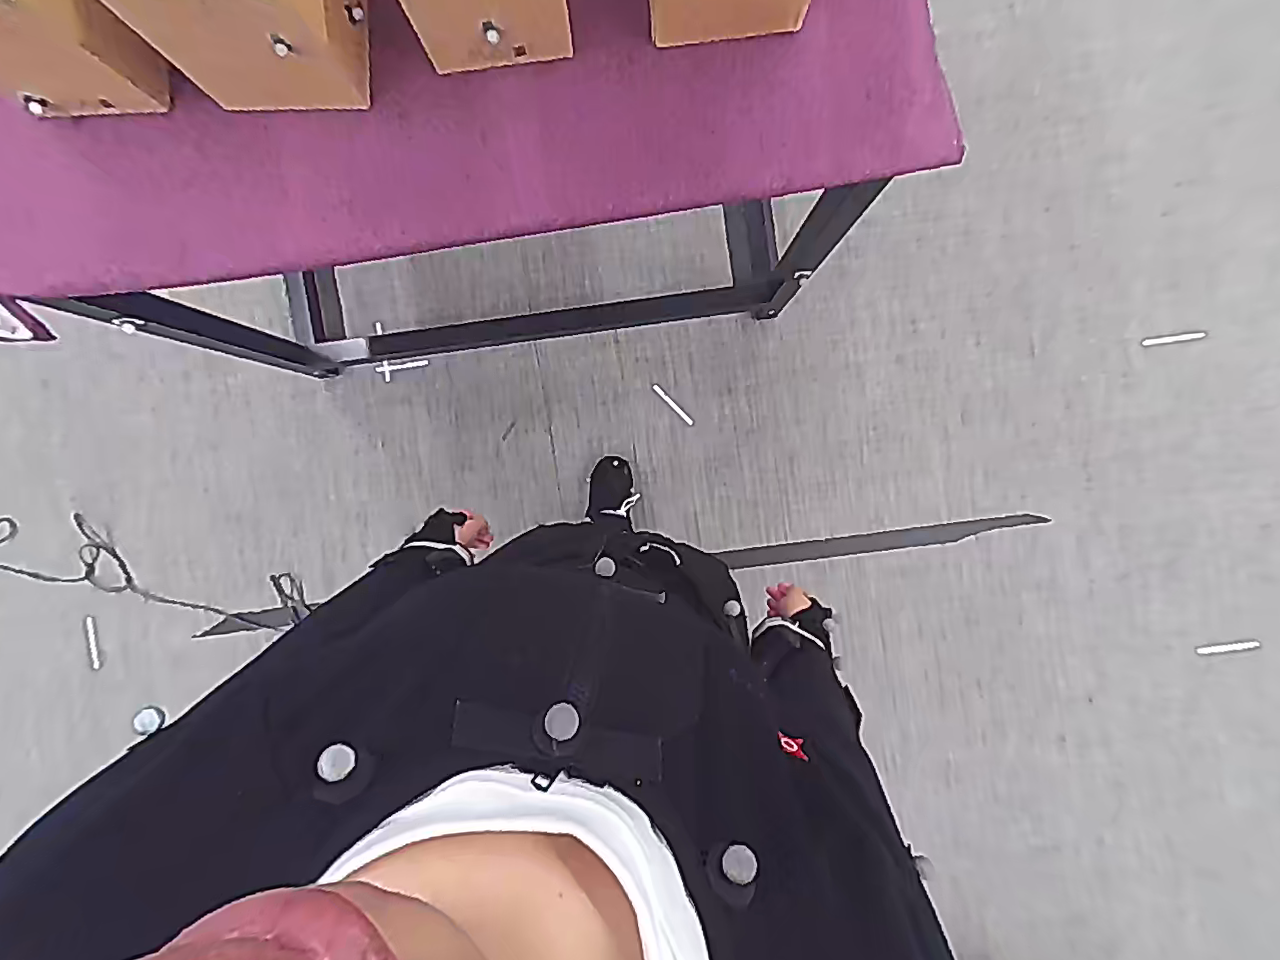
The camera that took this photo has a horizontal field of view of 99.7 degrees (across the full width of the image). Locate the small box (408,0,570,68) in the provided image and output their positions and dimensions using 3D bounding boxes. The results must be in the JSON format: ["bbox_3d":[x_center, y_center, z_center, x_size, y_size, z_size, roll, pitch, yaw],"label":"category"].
[{"bbox_3d":[-0.172,-0.582,0.561,0.168,0.176,0.179,-7,91,1],"label":"small box"}]

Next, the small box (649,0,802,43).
[{"bbox_3d":[0.094,-0.603,0.559,0.179,0.176,0.168,-6,89,1],"label":"small box"}]

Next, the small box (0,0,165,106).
[{"bbox_3d":[-0.646,-0.525,0.564,0.168,0.176,0.179,-2,92,0],"label":"small box"}]
